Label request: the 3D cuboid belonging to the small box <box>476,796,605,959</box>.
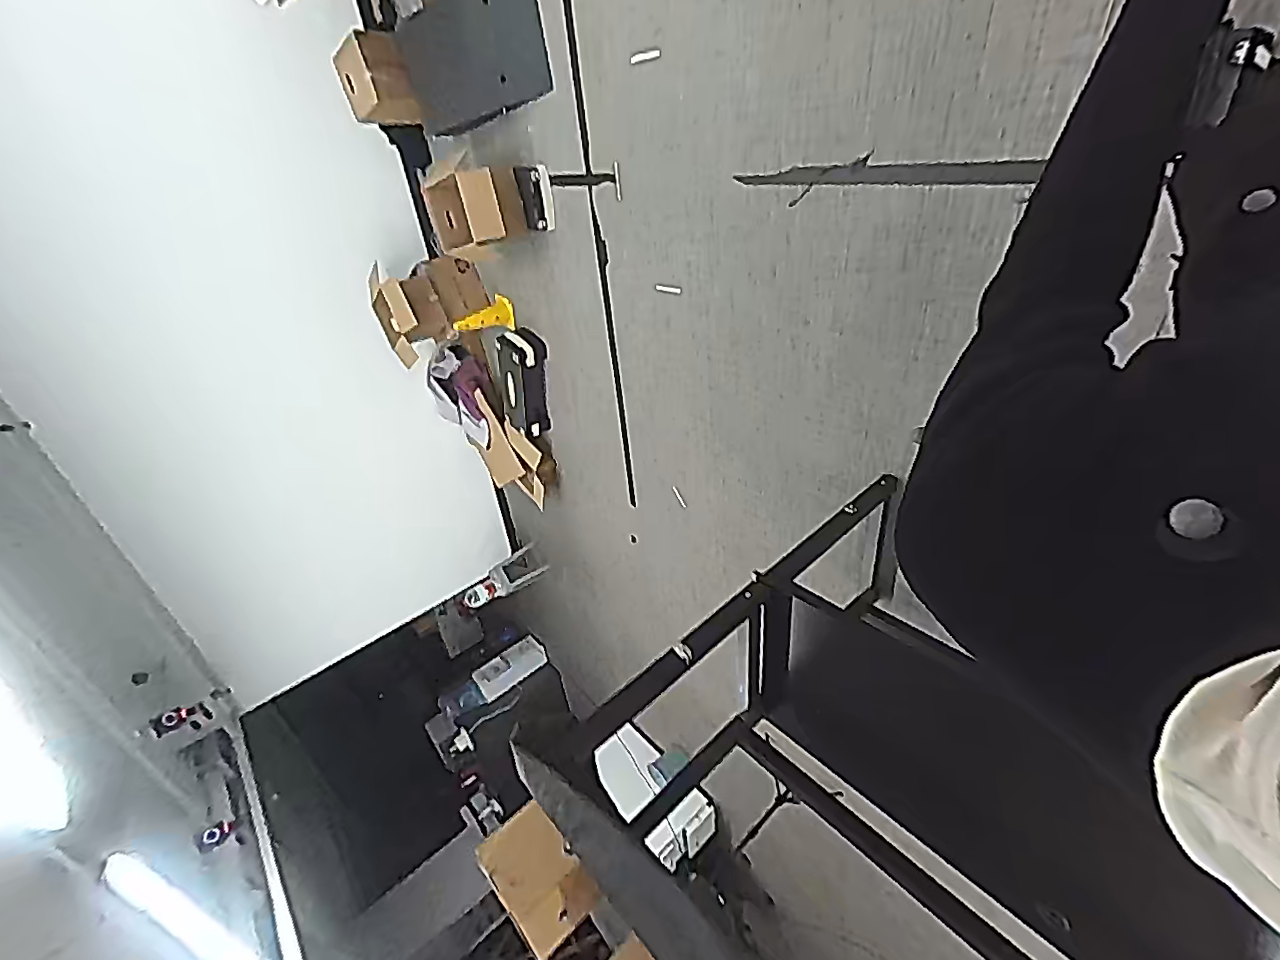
[{"bbox_3d":[-0.190,0.774,1.065,0.168,0.176,0.179,24,134,43],"label":"small box"}]
